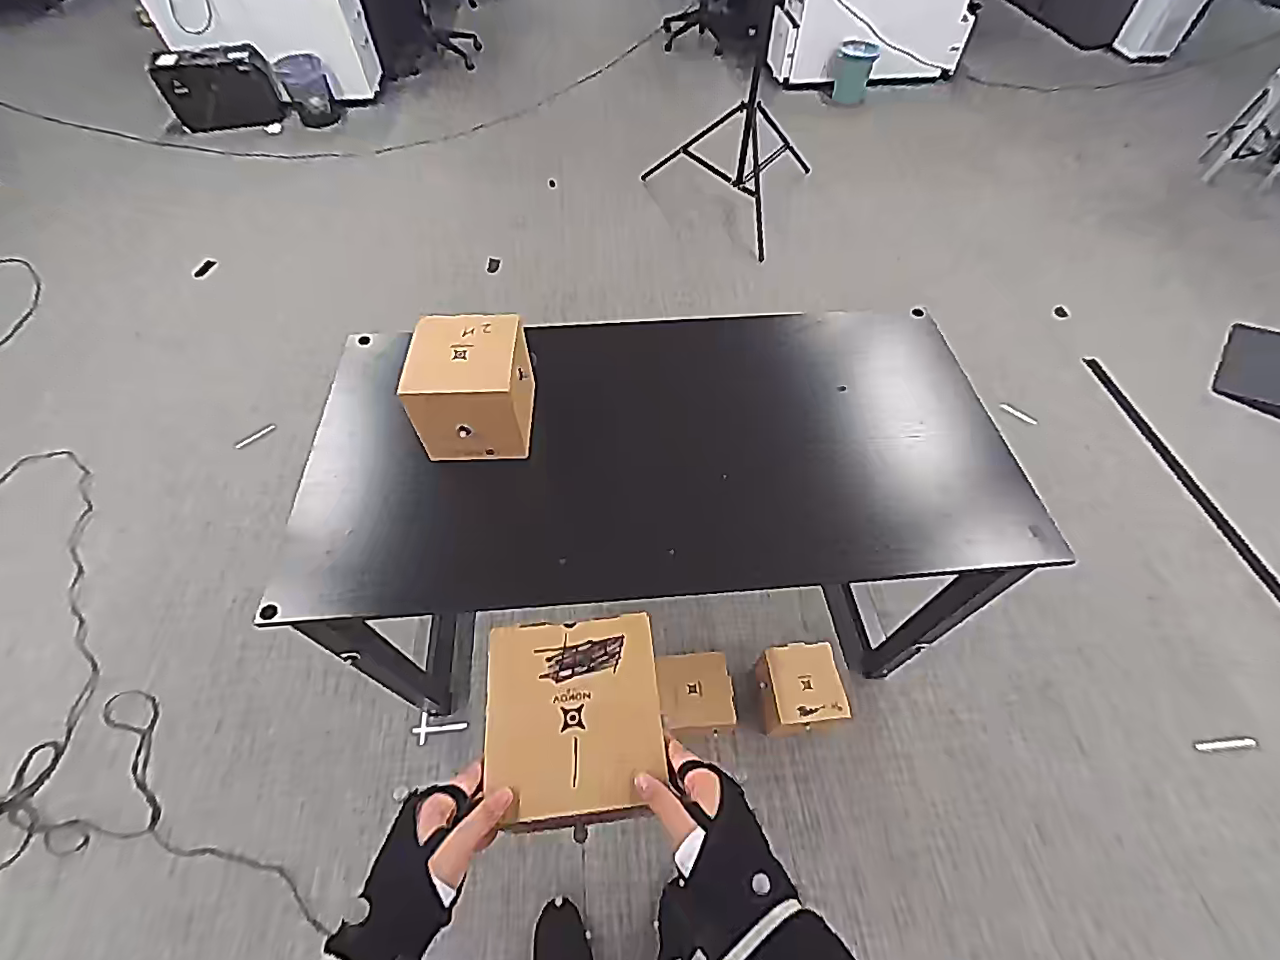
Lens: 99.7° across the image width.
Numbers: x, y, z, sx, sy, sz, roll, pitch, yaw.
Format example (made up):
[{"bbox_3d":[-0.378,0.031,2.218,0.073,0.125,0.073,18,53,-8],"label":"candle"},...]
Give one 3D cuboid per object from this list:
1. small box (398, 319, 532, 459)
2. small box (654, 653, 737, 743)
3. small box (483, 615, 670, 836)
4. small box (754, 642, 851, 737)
[{"bbox_3d":[-0.279,-0.147,0.908,0.168,0.176,0.179,-2,55,-2],"label":"small box"},{"bbox_3d":[0.127,0.535,1.323,0.179,0.176,0.168,-5,55,-2],"label":"small box"},{"bbox_3d":[-0.065,0.265,0.581,0.168,0.176,0.179,-5,55,-5],"label":"small box"},{"bbox_3d":[0.389,0.518,1.332,0.168,0.176,0.179,-5,55,-3],"label":"small box"}]
